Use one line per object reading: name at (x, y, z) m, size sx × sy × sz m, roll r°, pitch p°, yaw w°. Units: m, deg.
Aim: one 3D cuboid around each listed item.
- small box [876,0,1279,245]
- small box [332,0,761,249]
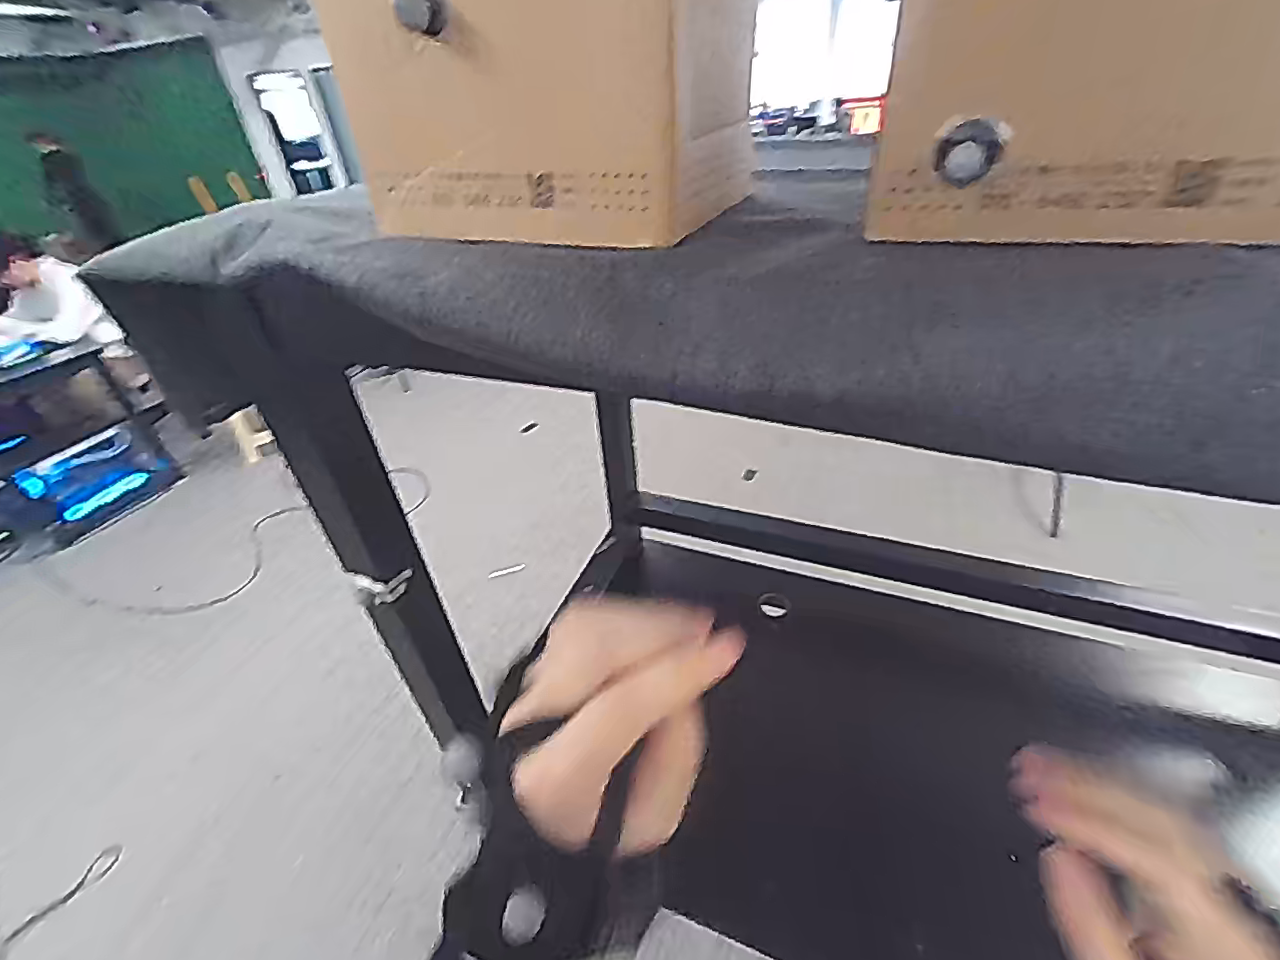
small box at (0.201, -0.199, 0.220) m, size 0.168 × 0.176 × 0.179 m, roll 12°, pitch 36°, yaw 21°
small box at (-0.032, -0.227, 0.284) m, size 0.168 × 0.176 × 0.179 m, roll 11°, pitch 36°, yaw 19°
